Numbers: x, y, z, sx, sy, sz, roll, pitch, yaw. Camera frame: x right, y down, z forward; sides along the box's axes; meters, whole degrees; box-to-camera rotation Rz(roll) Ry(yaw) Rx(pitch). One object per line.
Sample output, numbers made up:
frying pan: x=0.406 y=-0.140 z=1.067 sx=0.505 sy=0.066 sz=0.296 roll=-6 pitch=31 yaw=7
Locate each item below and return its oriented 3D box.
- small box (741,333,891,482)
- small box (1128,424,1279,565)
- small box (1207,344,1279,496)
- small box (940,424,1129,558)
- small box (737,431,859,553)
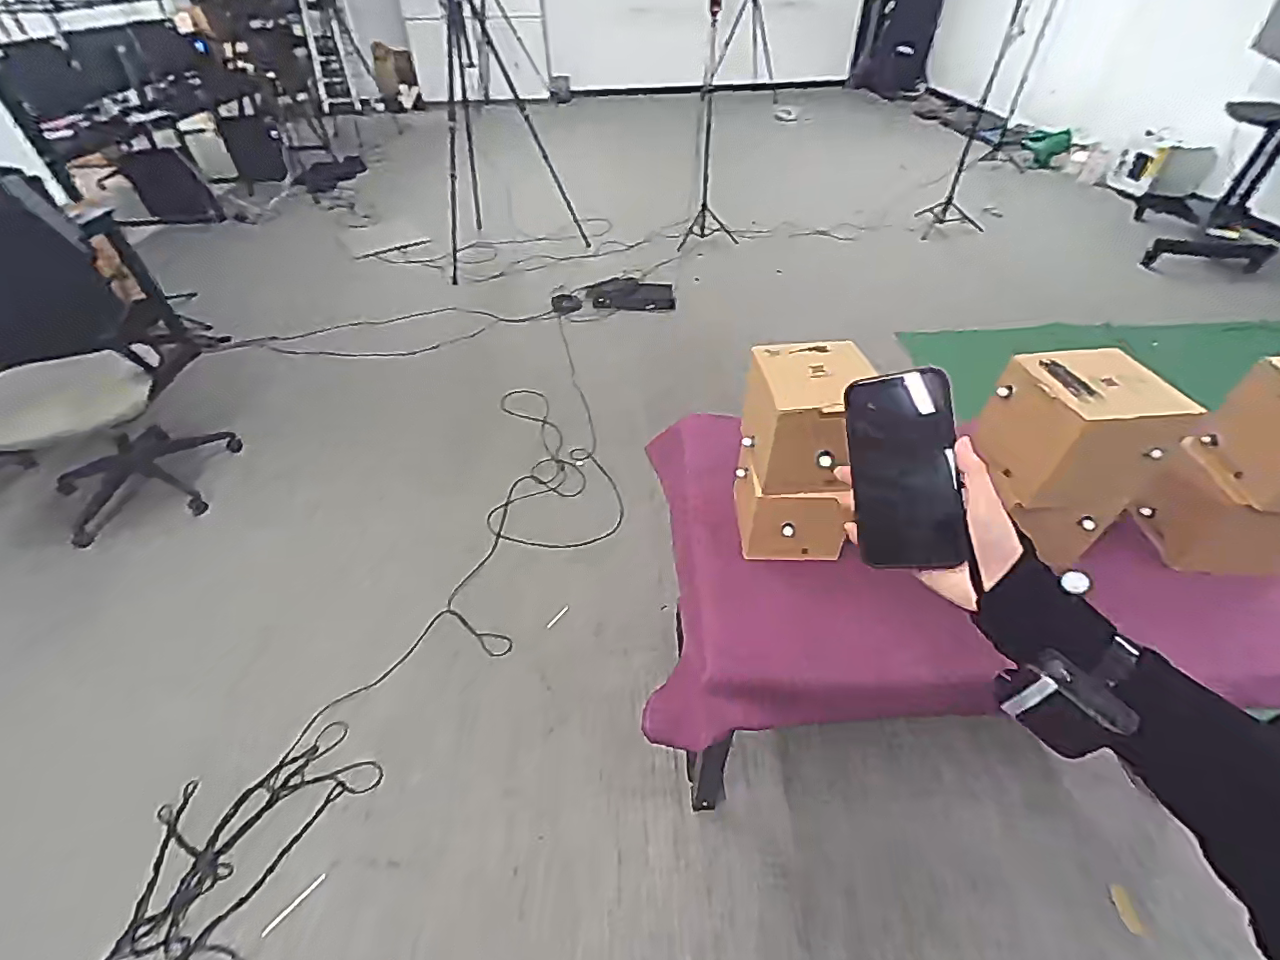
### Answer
small box: x=0.261 y=-0.109 z=0.849 sx=0.168 sy=0.176 sz=0.179 roll=-4 pitch=45 yaw=-2
small box: x=0.997 y=0.026 z=0.910 sx=0.179 sy=0.176 sz=0.168 roll=3 pitch=44 yaw=7
small box: x=1.000 y=-0.081 z=0.785 sx=0.179 sy=0.176 sz=0.168 roll=3 pitch=44 yaw=6
small box: x=0.657 y=0.022 z=0.929 sx=0.179 sy=0.176 sz=0.168 roll=-1 pitch=44 yaw=2
small box: x=0.267 y=0.015 z=0.956 sx=0.168 sy=0.176 sz=0.179 roll=-1 pitch=44 yaw=2
